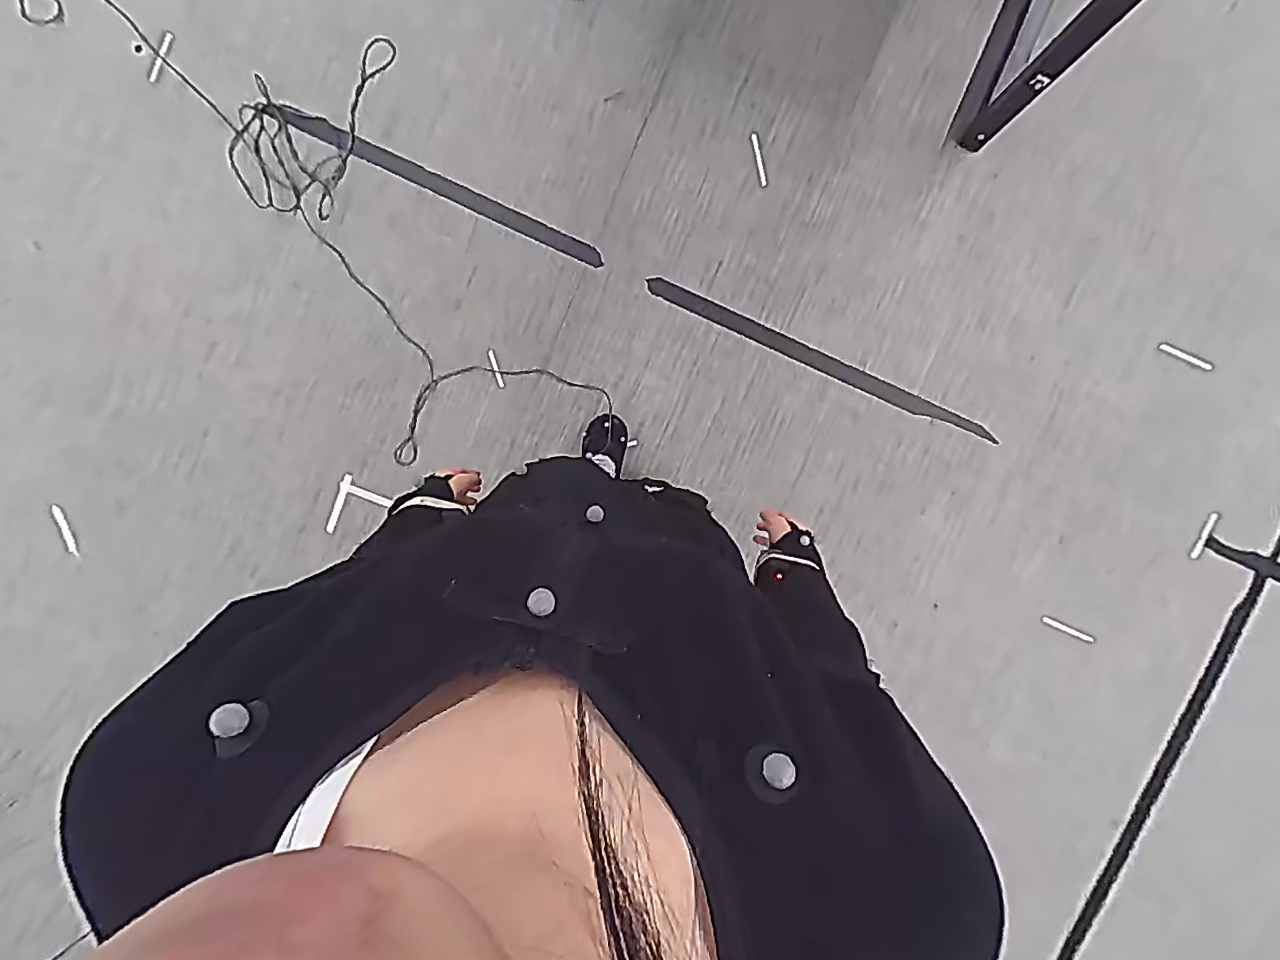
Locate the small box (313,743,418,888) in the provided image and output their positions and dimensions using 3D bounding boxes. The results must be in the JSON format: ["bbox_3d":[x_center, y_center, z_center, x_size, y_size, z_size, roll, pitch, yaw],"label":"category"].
[{"bbox_3d":[-0.606,0.712,1.164,0.168,0.176,0.179,21,92,-1],"label":"small box"}]
